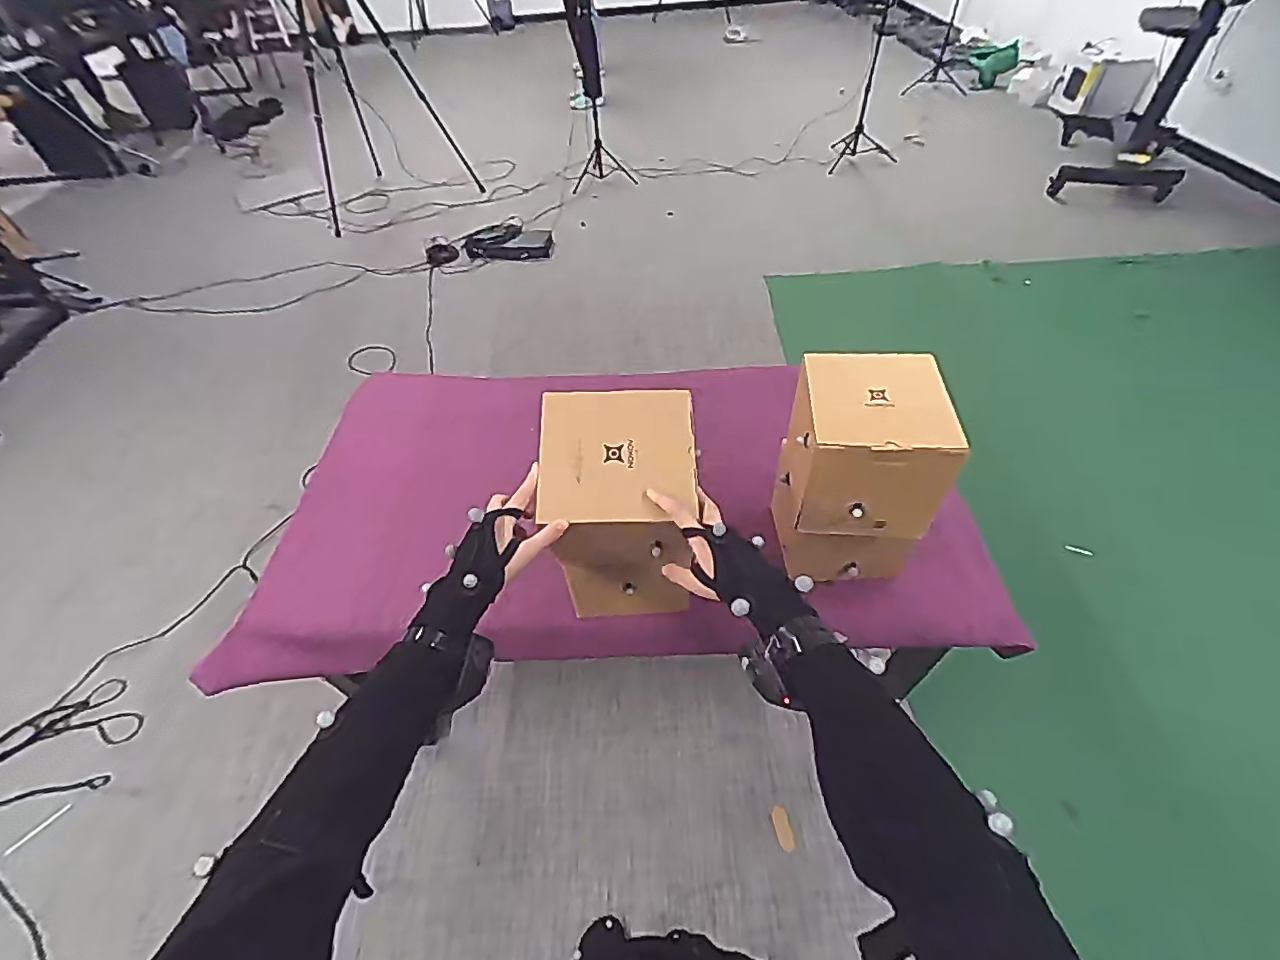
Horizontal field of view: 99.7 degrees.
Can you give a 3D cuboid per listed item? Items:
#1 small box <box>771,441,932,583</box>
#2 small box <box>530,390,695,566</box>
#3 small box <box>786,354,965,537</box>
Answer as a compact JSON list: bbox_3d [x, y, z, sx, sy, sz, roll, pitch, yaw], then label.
[{"bbox_3d":[0.315,0.048,0.849,0.179,0.176,0.168,-4,47,1],"label":"small box"},{"bbox_3d":[-0.028,0.004,0.673,0.179,0.176,0.168,-1,64,1],"label":"small box"},{"bbox_3d":[0.290,-0.046,0.716,0.168,0.176,0.179,2,49,7],"label":"small box"}]
